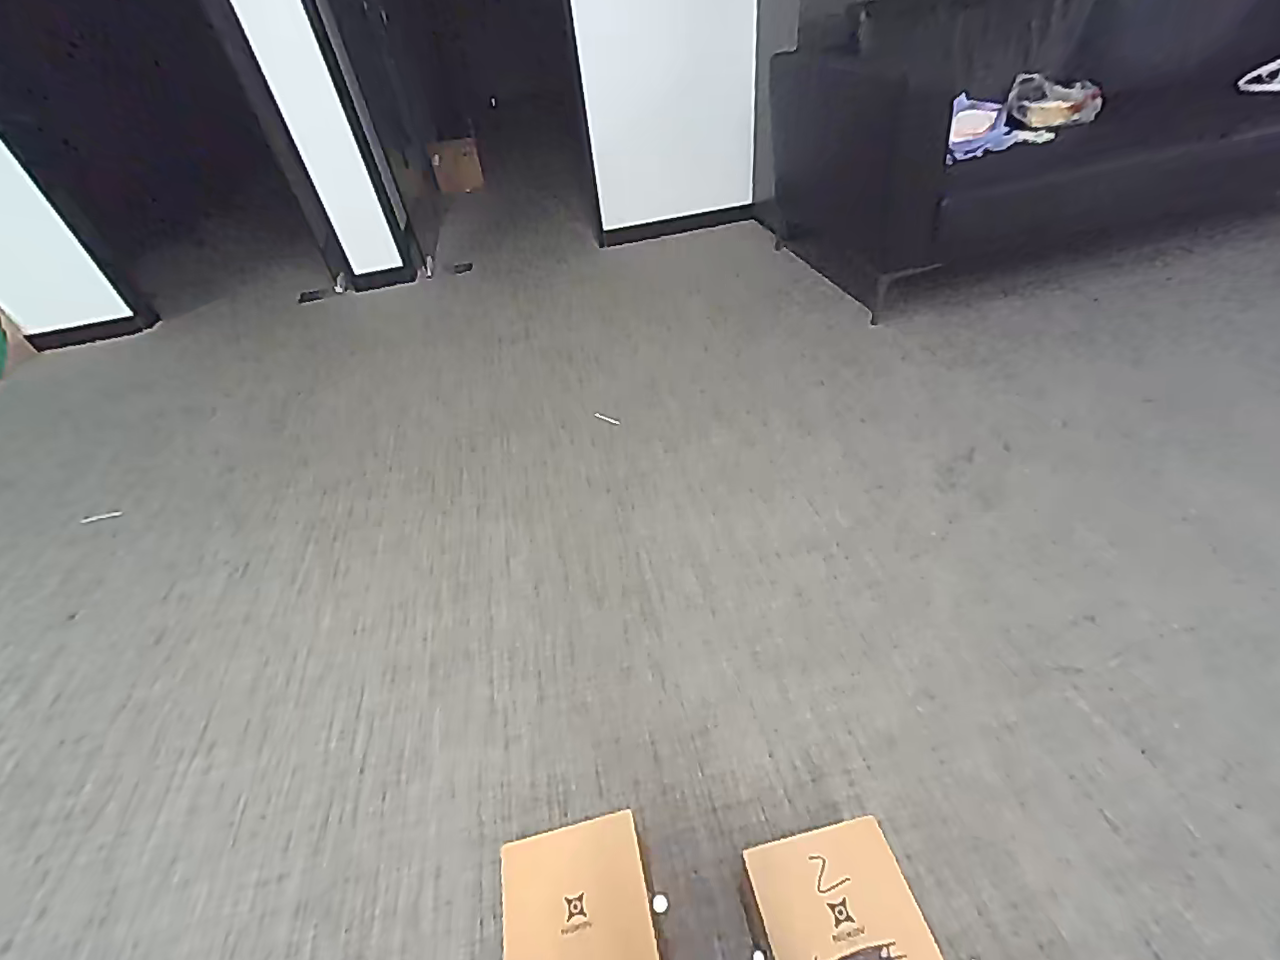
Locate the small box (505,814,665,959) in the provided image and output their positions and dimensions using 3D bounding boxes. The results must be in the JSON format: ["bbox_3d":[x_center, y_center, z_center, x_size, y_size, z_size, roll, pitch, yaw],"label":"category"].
[{"bbox_3d":[-0.062,0.549,0.659,0.168,0.176,0.179,-13,42,-5],"label":"small box"}]
